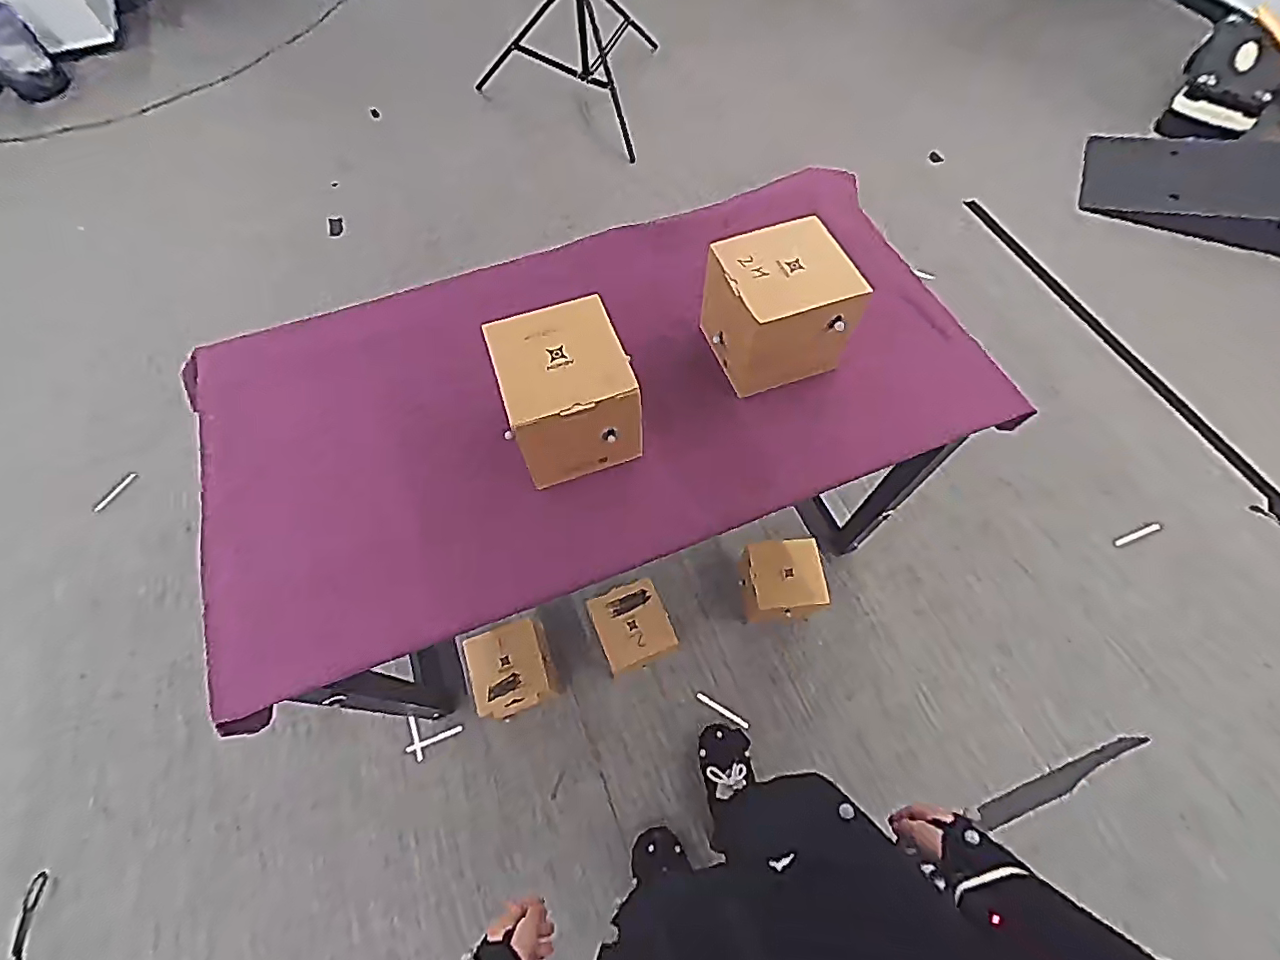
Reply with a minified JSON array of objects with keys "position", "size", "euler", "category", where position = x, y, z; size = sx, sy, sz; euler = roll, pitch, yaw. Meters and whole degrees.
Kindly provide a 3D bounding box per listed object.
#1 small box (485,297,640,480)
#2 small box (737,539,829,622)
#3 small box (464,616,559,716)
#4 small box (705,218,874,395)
[{"position":[-0.101,-0.119,0.762],"size":[0.168,0.176,0.179],"euler":[-18,63,-9],"category":"small box"},{"position":[0.357,0.260,1.382],"size":[0.179,0.176,0.168],"euler":[-5,64,-1],"category":"small box"},{"position":[-0.302,0.451,1.295],"size":[0.168,0.176,0.179],"euler":[-18,64,-9],"category":"small box"},{"position":[0.213,-0.258,0.825],"size":[0.179,0.176,0.168],"euler":[-18,64,-8],"category":"small box"}]
